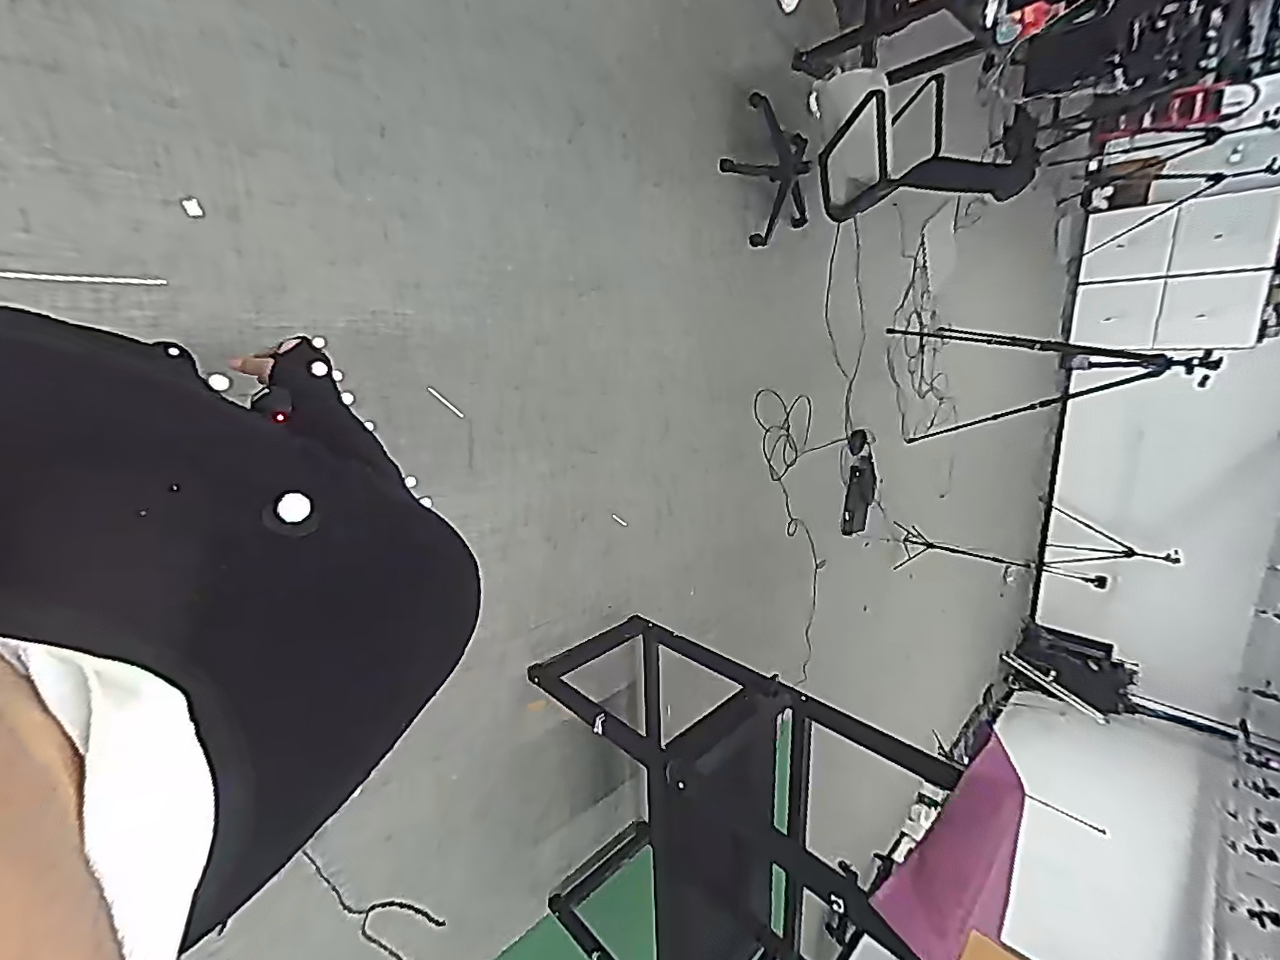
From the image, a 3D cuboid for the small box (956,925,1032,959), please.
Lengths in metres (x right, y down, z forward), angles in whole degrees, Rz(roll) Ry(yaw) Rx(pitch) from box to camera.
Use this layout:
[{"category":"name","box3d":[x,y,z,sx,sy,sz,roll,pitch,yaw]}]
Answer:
[{"category":"small box","box3d":[0.719,1.066,1.082,0.179,0.176,0.168,-10,106,-44]}]
